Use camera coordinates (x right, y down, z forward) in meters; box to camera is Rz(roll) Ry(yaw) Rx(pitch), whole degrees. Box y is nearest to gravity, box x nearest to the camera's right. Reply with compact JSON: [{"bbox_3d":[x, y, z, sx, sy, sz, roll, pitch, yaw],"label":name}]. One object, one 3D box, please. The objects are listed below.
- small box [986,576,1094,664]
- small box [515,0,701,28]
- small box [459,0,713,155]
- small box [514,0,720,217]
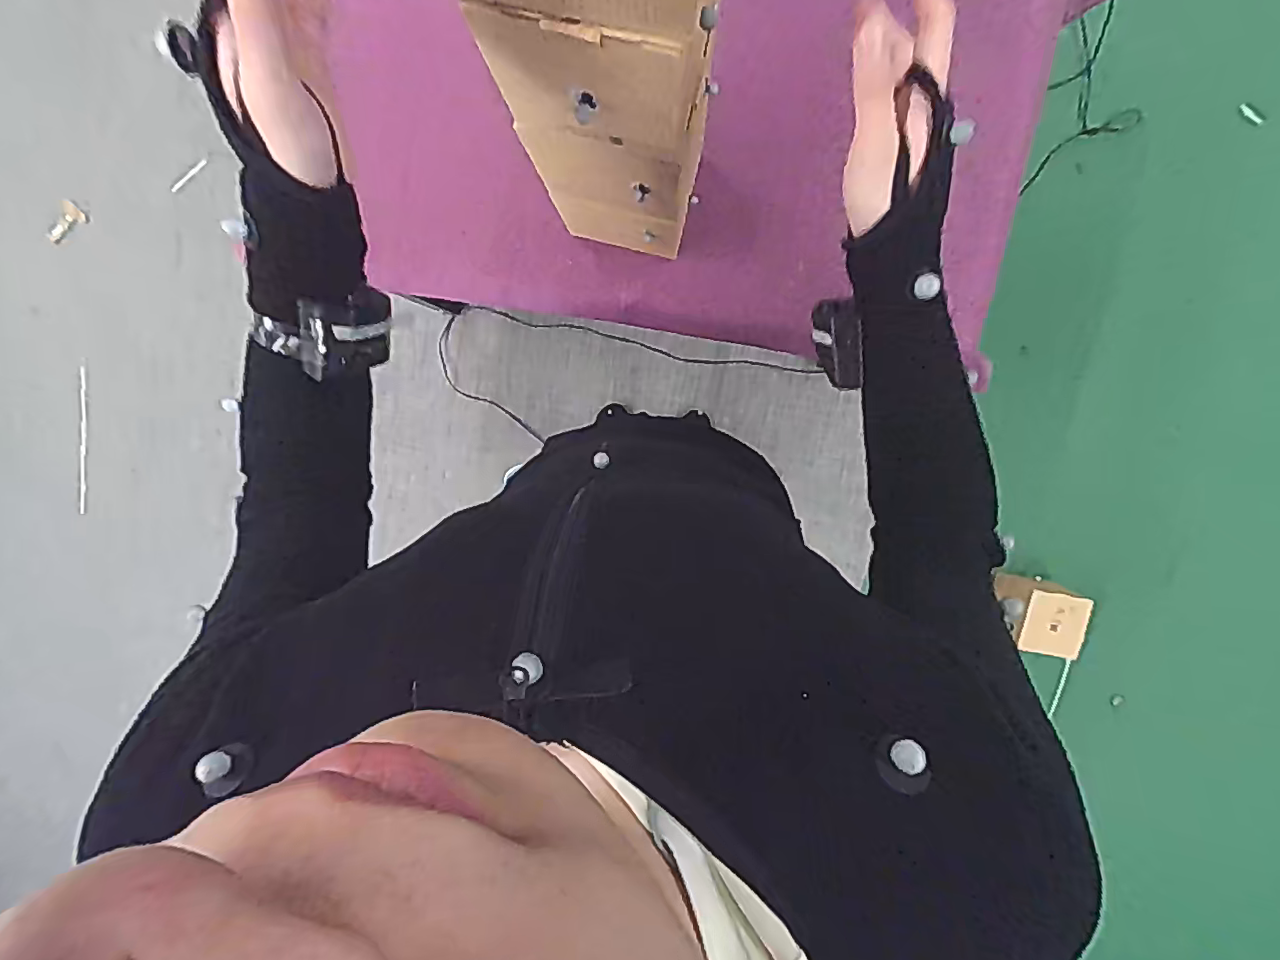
[{"bbox_3d":[1.126,0.392,1.538,0.168,0.176,0.179,10,98,2],"label":"small box"},{"bbox_3d":[-0.035,-0.392,0.285,0.179,0.176,0.168,12,97,0],"label":"small box"},{"bbox_3d":[-0.027,-0.408,0.449,0.168,0.176,0.179,14,98,1],"label":"small box"},{"bbox_3d":[-0.021,-0.421,0.611,0.179,0.176,0.168,14,97,2],"label":"small box"}]
